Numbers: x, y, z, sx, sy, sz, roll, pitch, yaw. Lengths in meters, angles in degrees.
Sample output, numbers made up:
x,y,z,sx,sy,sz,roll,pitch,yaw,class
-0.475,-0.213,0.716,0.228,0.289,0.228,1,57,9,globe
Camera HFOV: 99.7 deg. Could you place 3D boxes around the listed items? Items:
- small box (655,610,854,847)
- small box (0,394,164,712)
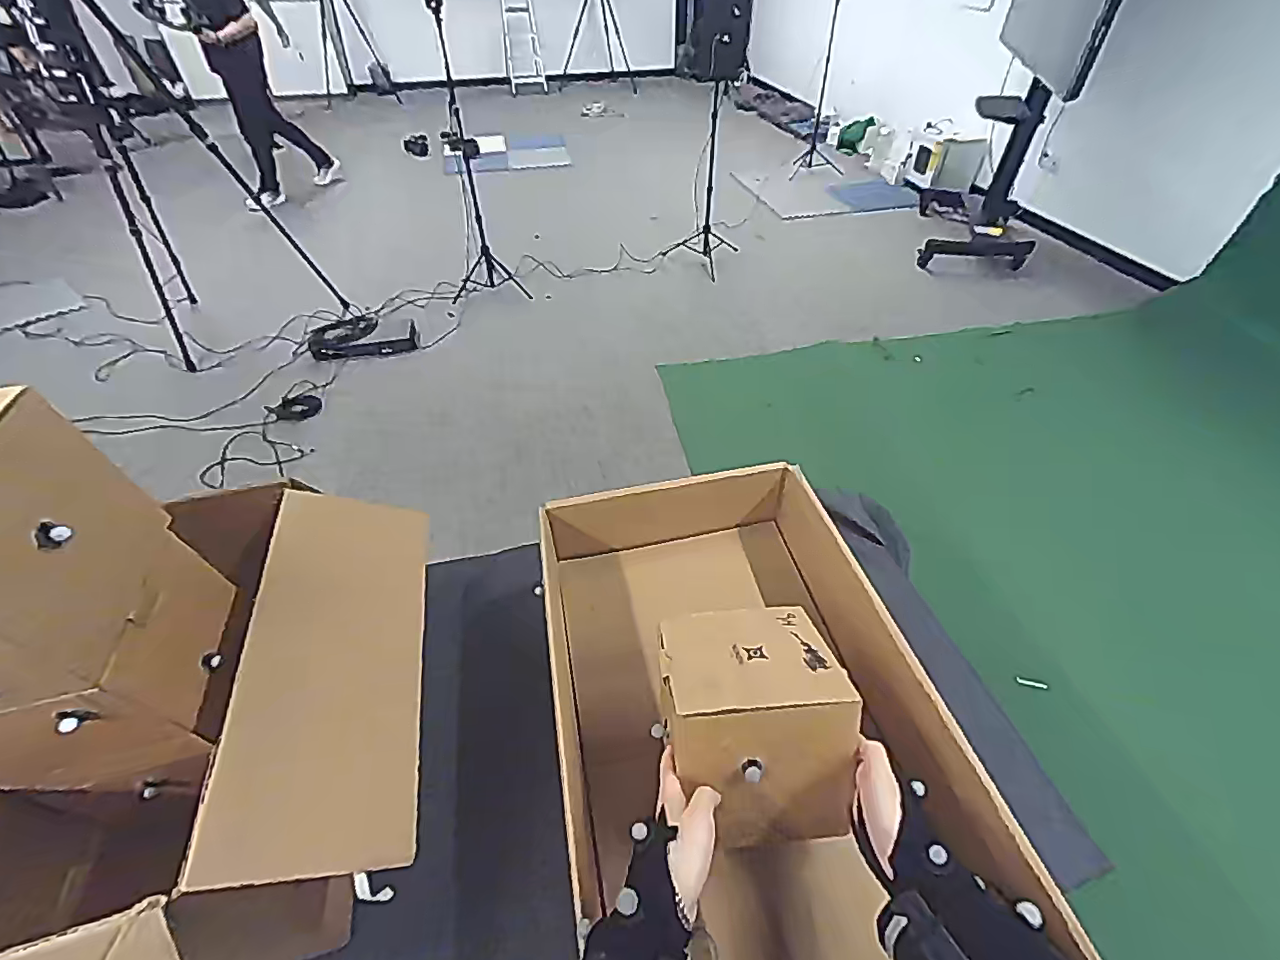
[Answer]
x,y,z,sx,sy,sz,roll,pitch,yaw,class
0.114,0.264,0.591,0.179,0.176,0.168,-4,19,-2,small box
-0.519,0.063,0.408,0.168,0.176,0.179,-11,49,-7,small box
